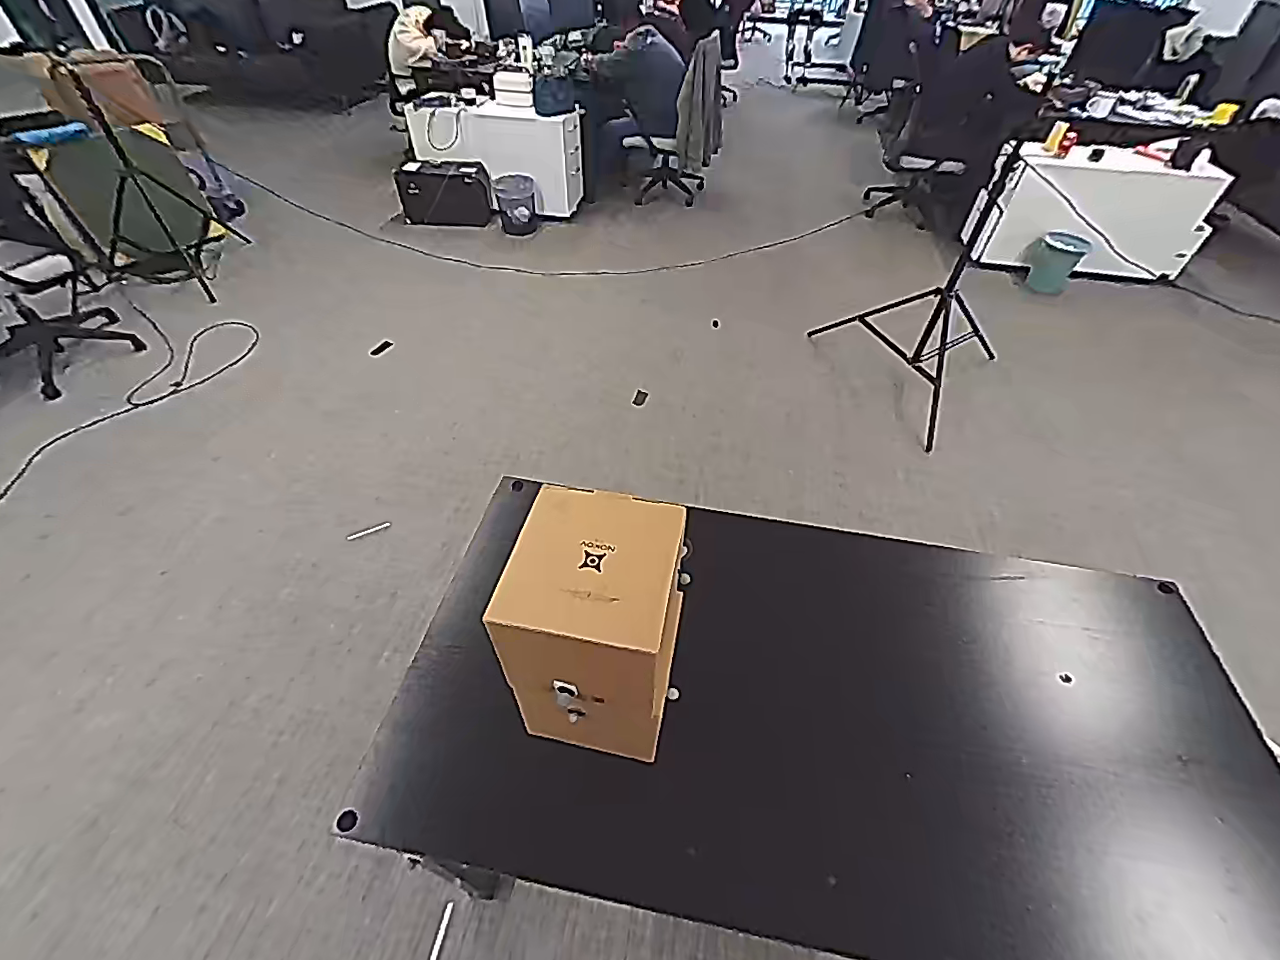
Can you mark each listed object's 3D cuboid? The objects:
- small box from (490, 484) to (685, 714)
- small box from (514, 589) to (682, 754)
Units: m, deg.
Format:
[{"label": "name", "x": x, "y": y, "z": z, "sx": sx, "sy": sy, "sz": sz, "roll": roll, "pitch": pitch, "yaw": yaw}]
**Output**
[{"label": "small box", "x": -0.047, "y": 0.132, "z": 0.604, "sx": 0.168, "sy": 0.176, "sz": 0.179, "roll": 8, "pitch": 48, "yaw": 7}, {"label": "small box", "x": -0.048, "y": 0.243, "z": 0.723, "sx": 0.179, "sy": 0.176, "sz": 0.168, "roll": 10, "pitch": 47, "yaw": 6}]
